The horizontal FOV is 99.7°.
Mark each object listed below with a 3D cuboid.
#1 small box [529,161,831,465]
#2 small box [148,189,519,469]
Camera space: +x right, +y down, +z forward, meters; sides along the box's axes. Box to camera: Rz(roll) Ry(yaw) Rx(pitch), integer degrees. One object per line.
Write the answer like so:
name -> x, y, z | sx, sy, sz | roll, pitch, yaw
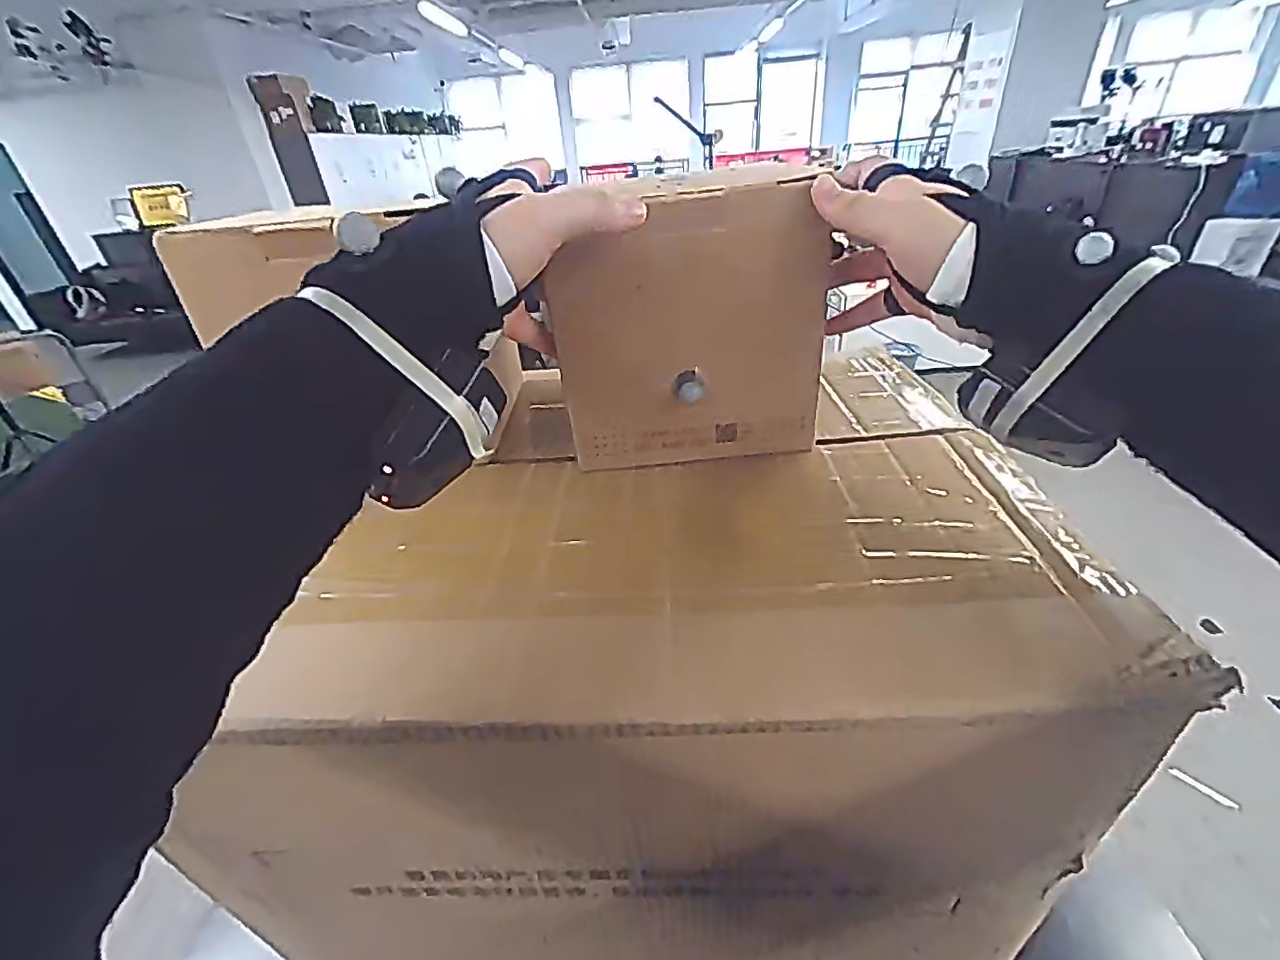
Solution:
small box -> 0.027, -0.128, 0.399 | 0.168, 0.176, 0.179 | -6, 32, 3
small box -> -0.198, -0.117, 0.419 | 0.168, 0.176, 0.179 | -5, 31, -1
